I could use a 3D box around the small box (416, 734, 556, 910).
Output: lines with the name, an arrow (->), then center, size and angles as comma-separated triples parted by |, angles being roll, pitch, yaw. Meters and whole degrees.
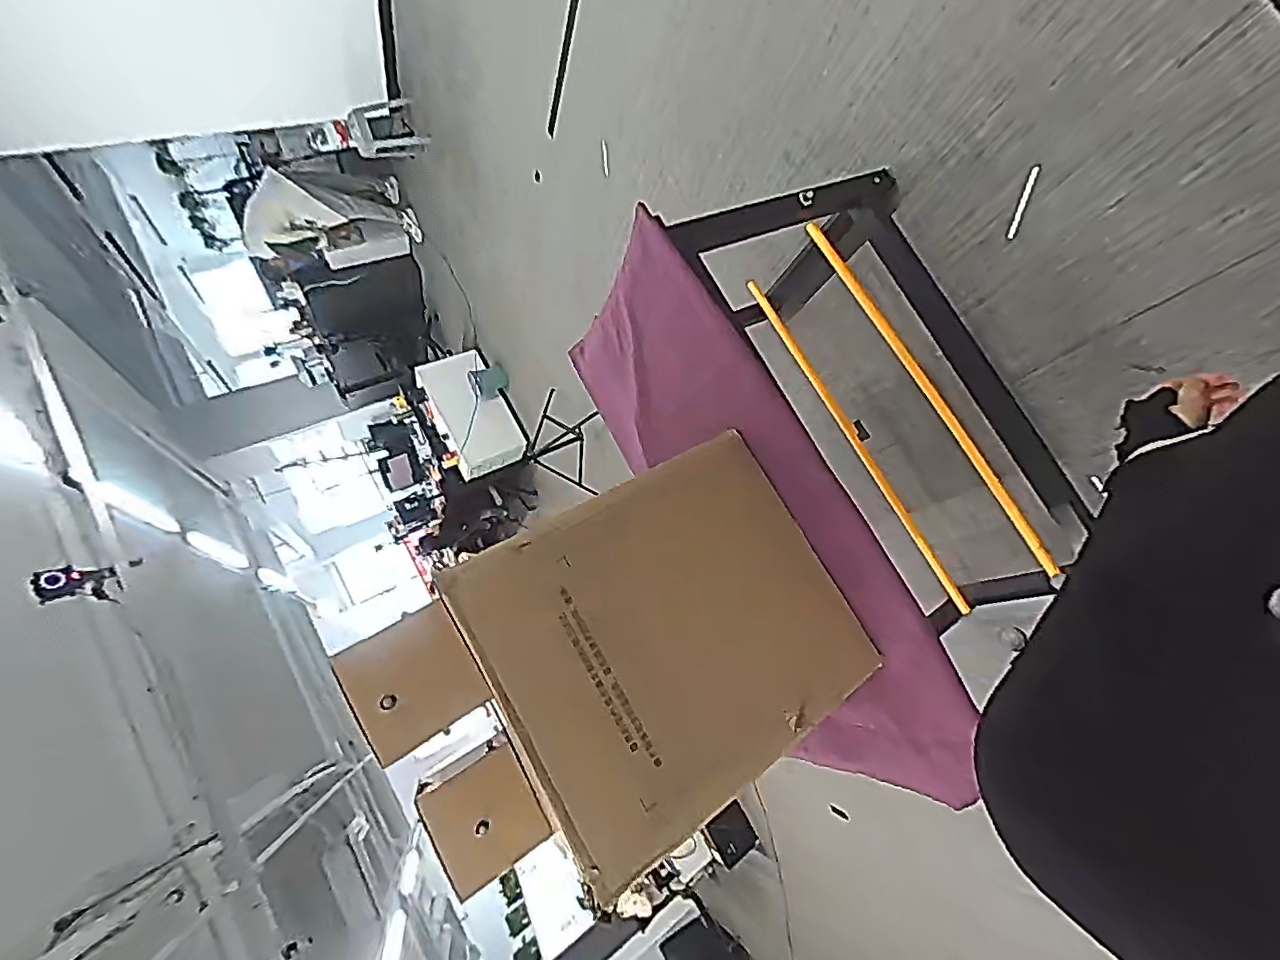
small box -> -0.272, 0.582, 0.952 | 0.179, 0.176, 0.168 | 60, 156, 4
